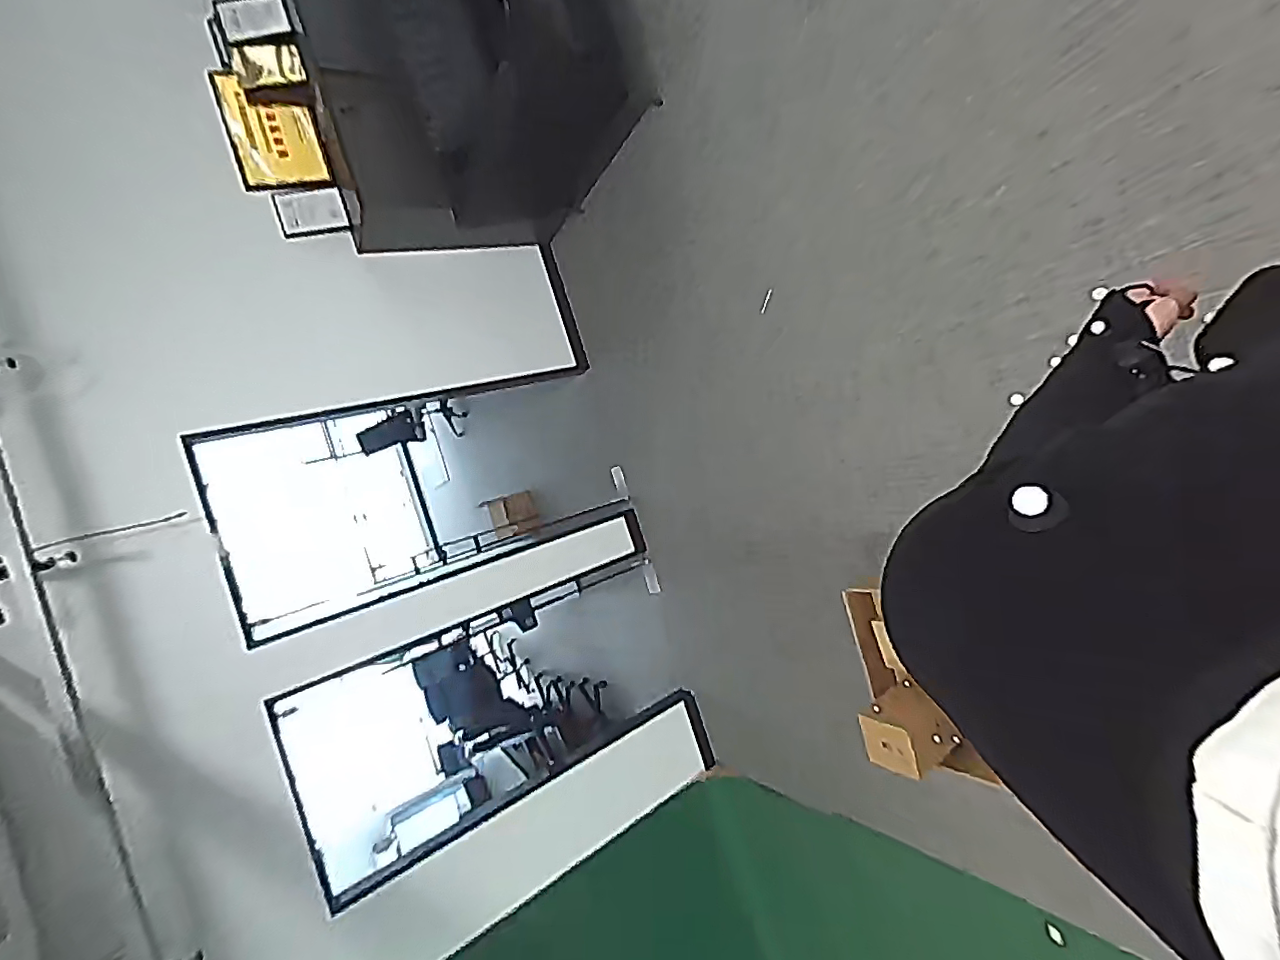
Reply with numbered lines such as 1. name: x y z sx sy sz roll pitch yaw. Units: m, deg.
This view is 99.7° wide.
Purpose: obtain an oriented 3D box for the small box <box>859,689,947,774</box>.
1. small box: 0.839 0.791 1.726 0.179 0.176 0.168 -10 96 58

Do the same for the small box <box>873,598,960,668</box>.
1. small box: 0.912 0.497 1.785 0.179 0.176 0.168 -18 90 58
